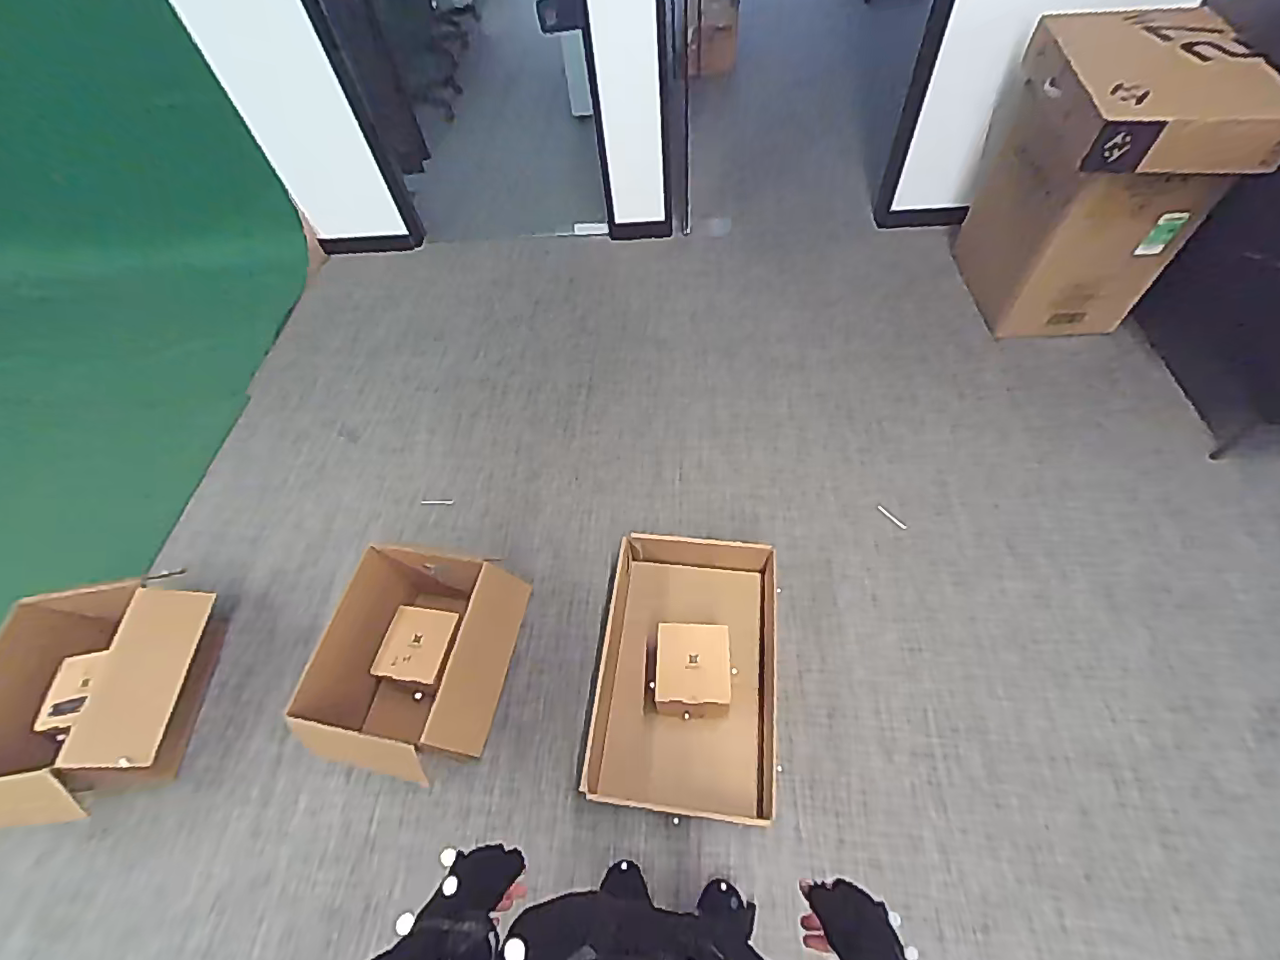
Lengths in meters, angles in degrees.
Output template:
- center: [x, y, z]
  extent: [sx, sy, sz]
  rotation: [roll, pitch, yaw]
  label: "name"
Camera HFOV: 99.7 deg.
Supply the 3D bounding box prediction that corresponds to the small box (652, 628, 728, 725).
- center: [0.115, 0.463, 1.272]
  extent: [0.168, 0.176, 0.179]
  rotation: [0, 55, 5]
  label: "small box"
